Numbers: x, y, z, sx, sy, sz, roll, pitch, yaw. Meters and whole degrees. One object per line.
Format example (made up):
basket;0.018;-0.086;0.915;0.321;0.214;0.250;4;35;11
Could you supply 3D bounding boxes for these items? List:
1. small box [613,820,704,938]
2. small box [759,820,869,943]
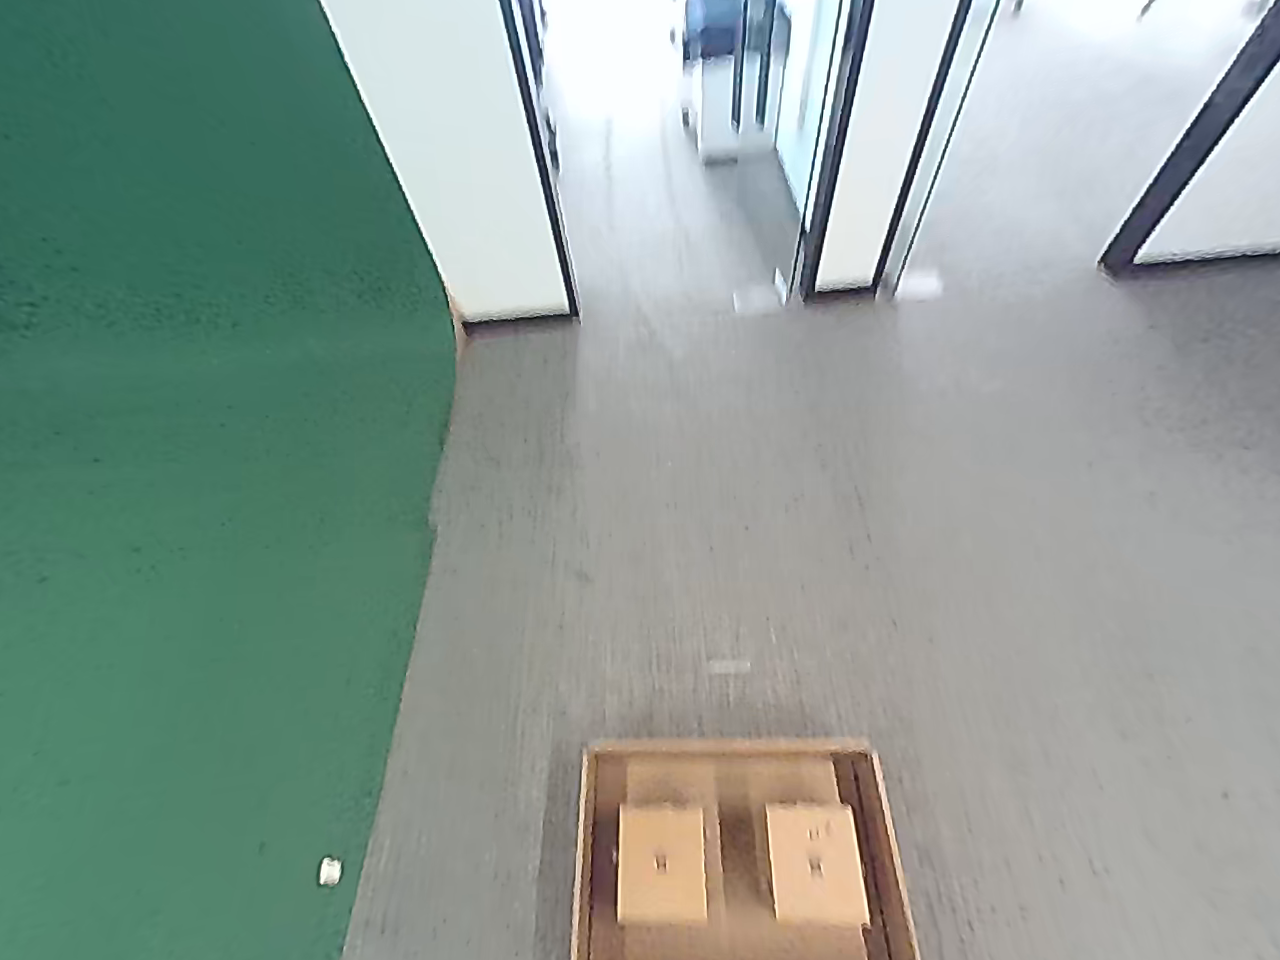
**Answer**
small box;0.041;0.784;1.072;0.168;0.176;0.179;-1;54;4
small box;0.326;0.772;1.051;0.168;0.176;0.179;-1;55;5
